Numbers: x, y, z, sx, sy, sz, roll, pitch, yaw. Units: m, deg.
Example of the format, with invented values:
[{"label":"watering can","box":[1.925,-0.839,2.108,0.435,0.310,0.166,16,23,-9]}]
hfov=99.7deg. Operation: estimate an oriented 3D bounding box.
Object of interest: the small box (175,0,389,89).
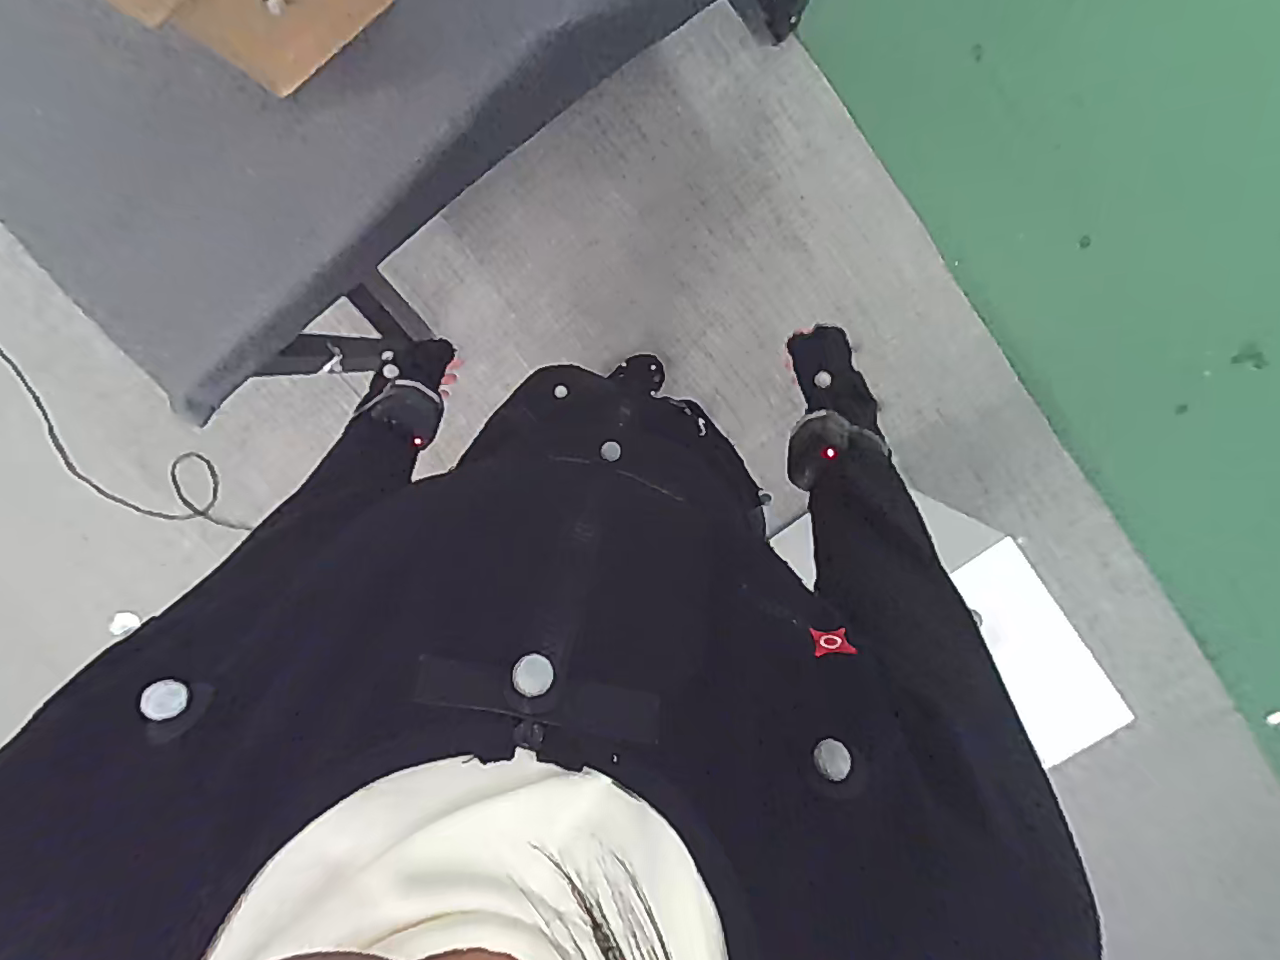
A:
[{"label":"small box","box":[-0.372,-0.522,0.503,0.179,0.176,0.168,-34,99,10]}]
